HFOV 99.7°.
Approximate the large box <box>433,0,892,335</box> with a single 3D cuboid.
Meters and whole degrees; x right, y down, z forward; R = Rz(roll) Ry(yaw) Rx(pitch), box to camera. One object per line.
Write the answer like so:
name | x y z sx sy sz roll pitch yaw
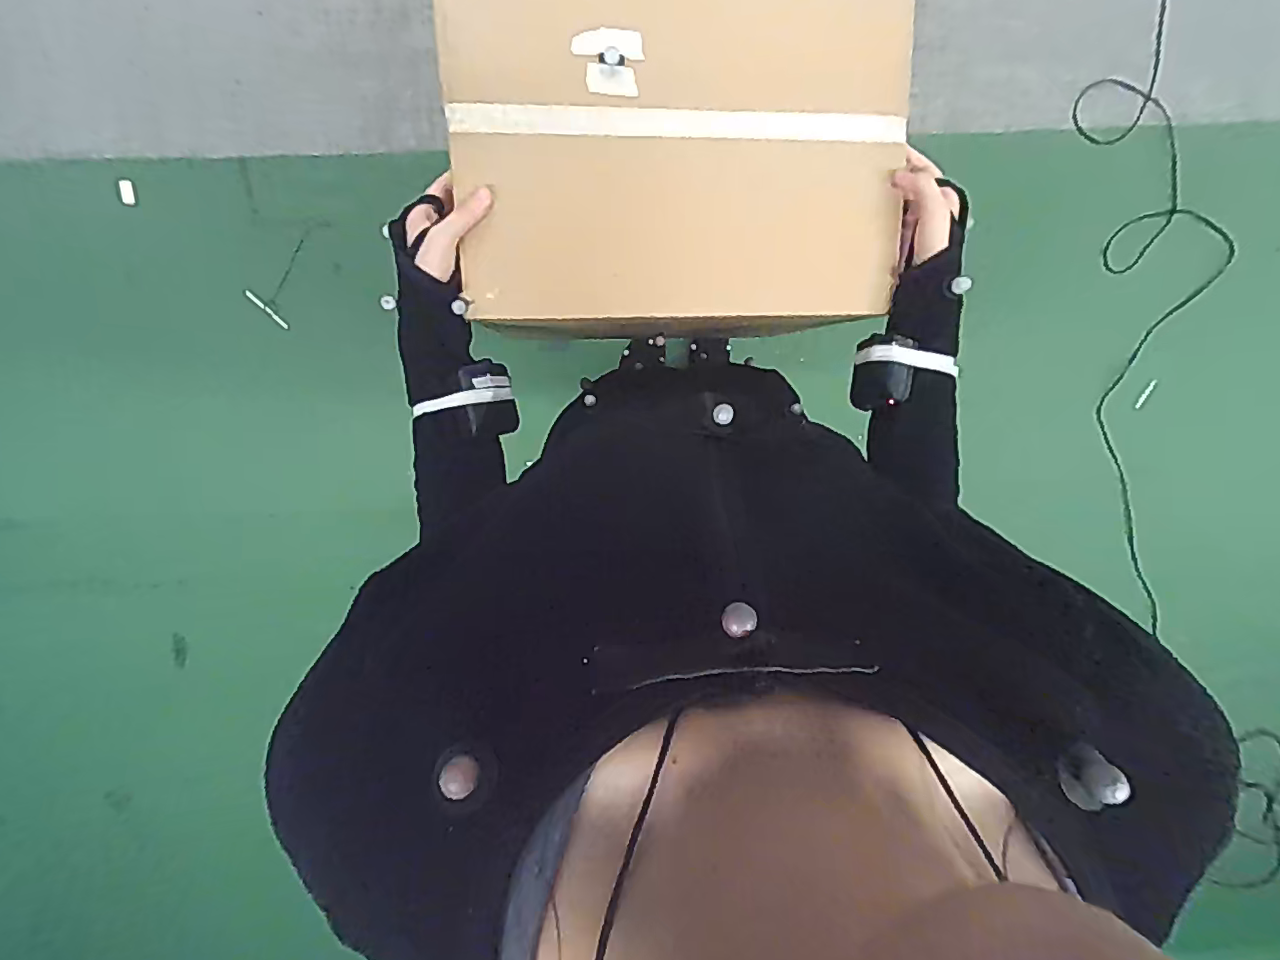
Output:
large box | 0.016 -0.340 0.627 0.408 0.320 0.320 -3 101 -6
